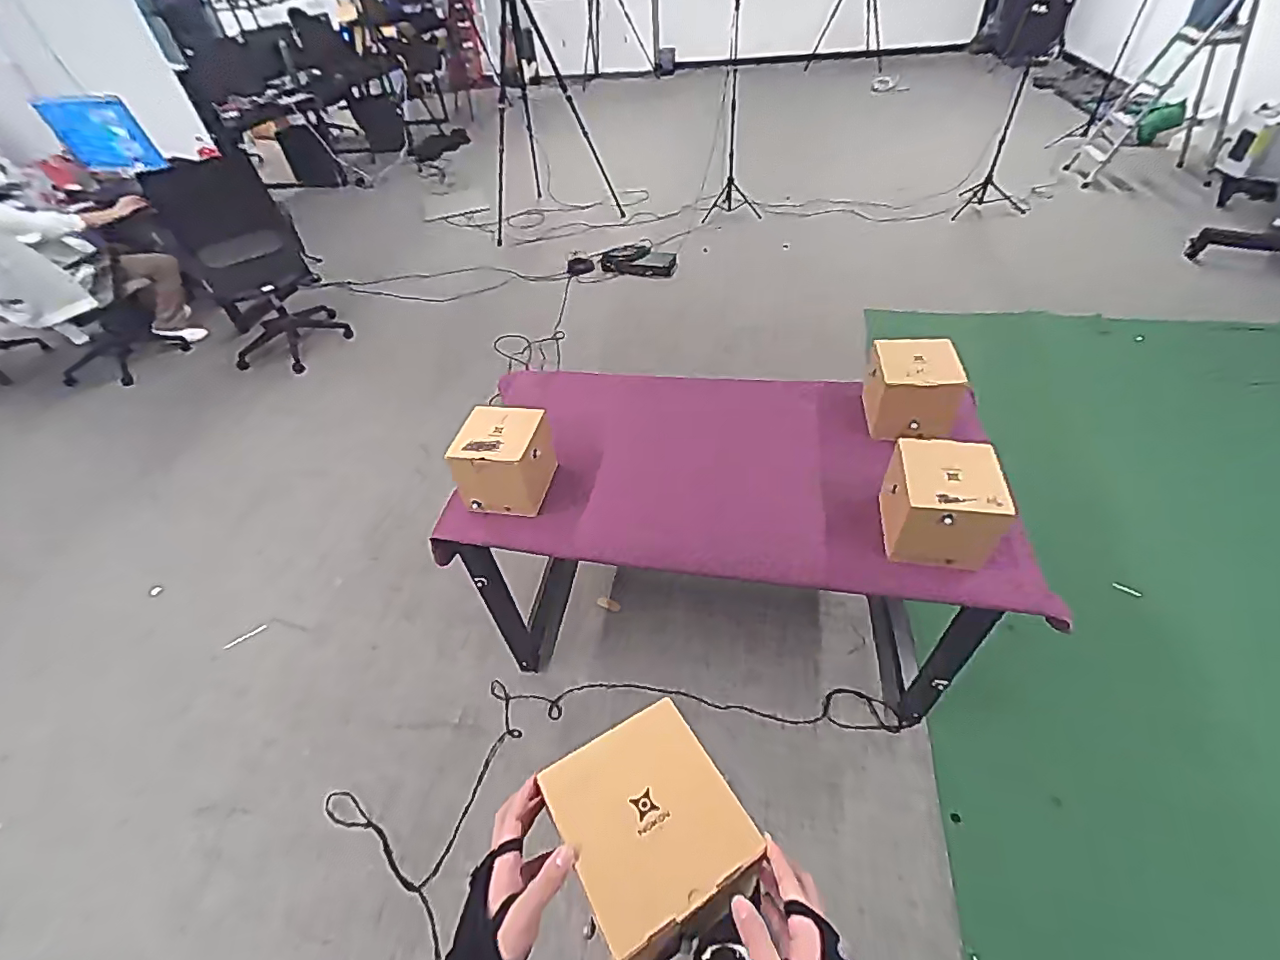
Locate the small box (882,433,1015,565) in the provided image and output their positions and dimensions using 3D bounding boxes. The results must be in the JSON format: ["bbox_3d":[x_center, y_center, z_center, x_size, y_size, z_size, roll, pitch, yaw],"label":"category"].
[{"bbox_3d":[0.565,0.034,1.019,0.168,0.176,0.179,4,48,13],"label":"small box"}]

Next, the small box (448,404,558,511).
[{"bbox_3d":[-0.295,-0.049,1.212,0.168,0.176,0.179,4,46,11],"label":"small box"}]

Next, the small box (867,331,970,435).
[{"bbox_3d":[0.632,-0.226,1.252,0.168,0.176,0.179,1,48,13],"label":"small box"}]
